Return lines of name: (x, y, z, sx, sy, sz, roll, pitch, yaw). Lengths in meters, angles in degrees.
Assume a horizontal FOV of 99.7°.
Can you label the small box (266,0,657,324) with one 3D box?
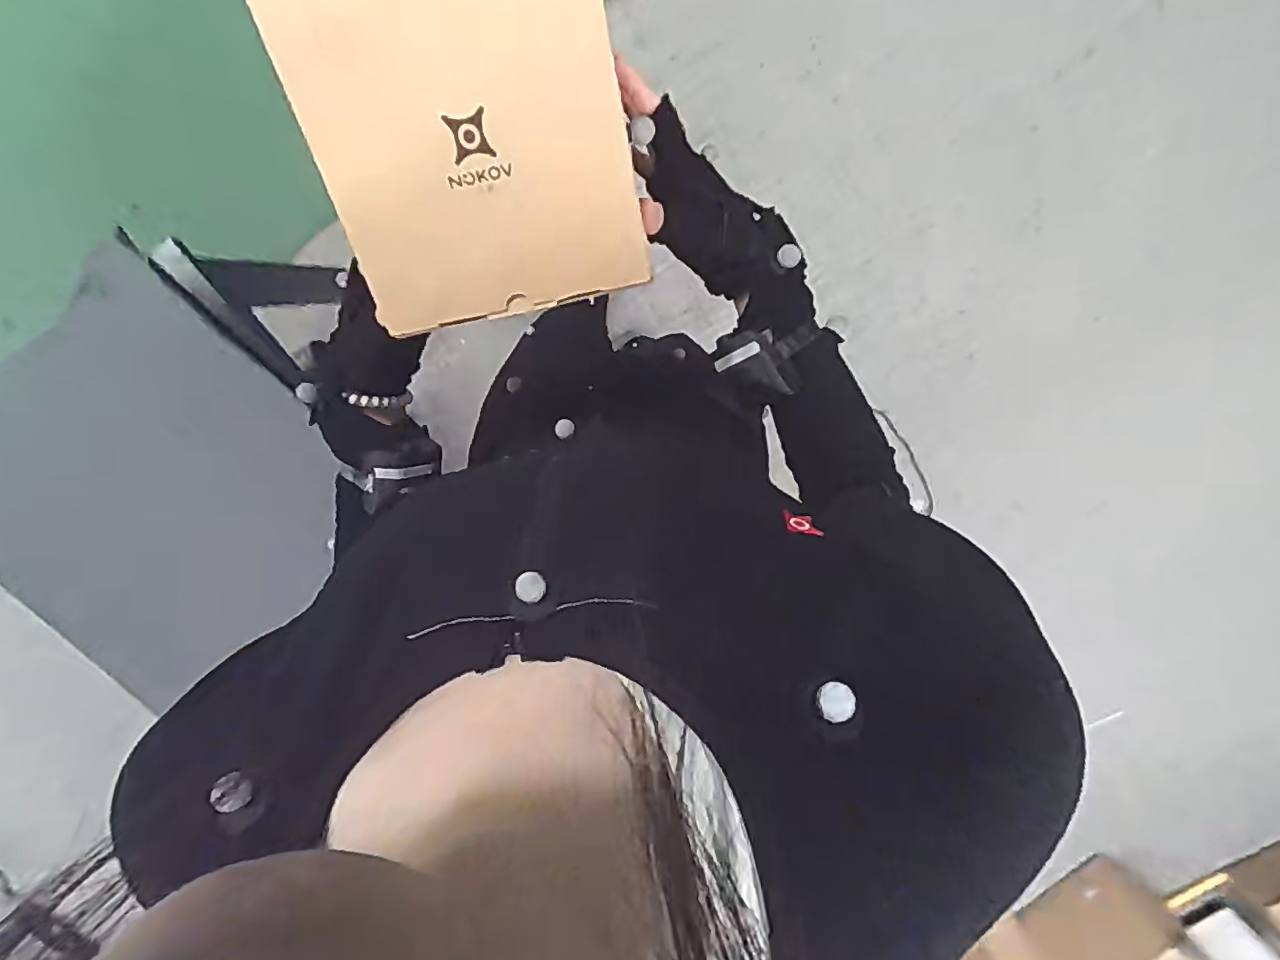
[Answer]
small box: (-0.089, -0.221, 0.353, 0.168, 0.176, 0.179, -11, 121, 2)
